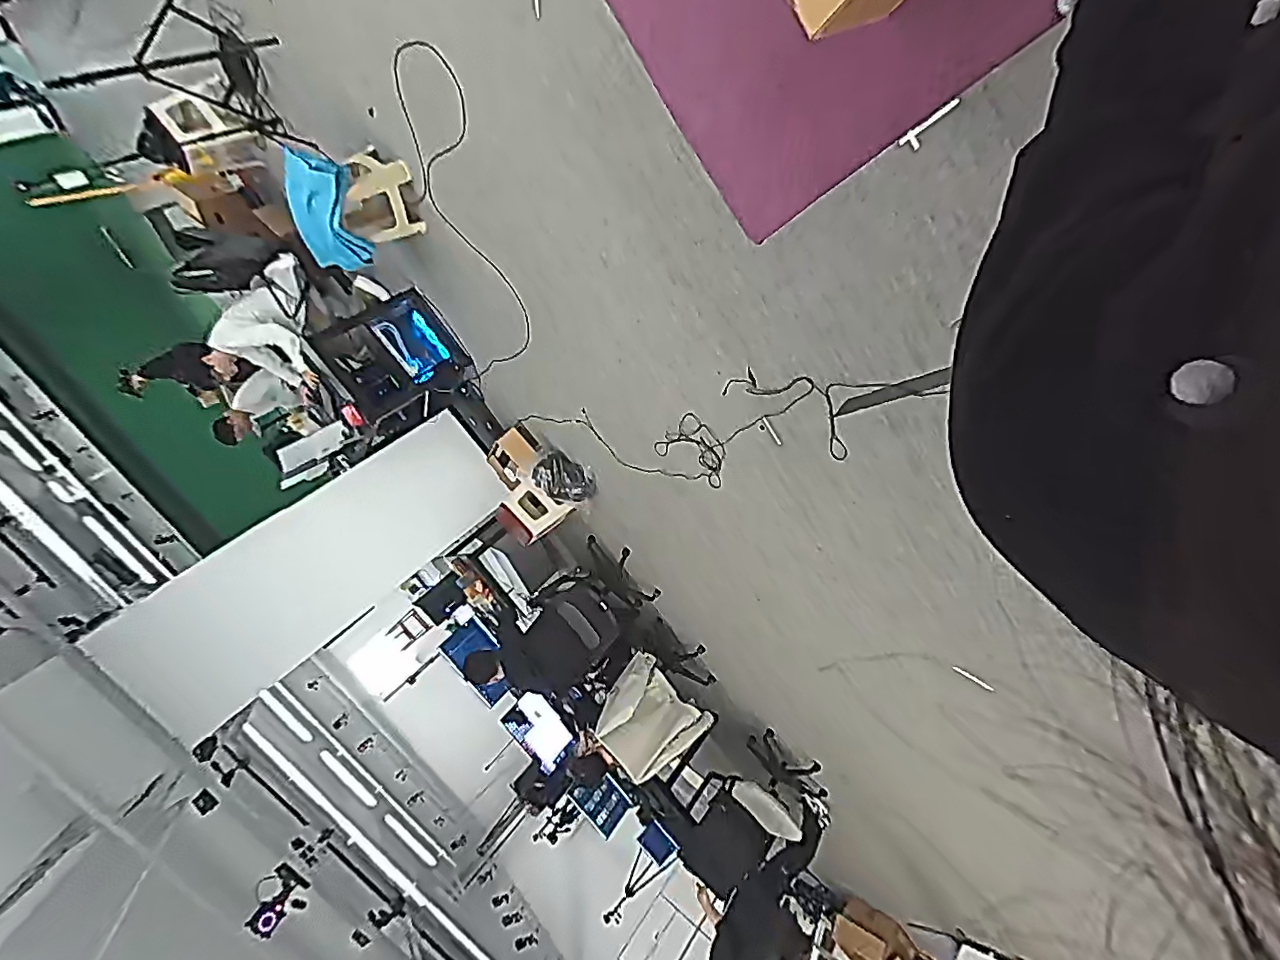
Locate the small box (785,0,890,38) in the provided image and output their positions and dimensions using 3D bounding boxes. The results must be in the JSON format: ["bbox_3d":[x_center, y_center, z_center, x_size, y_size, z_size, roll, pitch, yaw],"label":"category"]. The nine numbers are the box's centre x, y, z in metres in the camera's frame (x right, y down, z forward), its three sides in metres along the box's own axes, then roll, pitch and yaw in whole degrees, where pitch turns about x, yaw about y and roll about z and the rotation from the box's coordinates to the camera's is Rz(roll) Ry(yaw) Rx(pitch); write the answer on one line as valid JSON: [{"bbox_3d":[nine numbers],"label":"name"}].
[{"bbox_3d":[0.206,-0.538,0.459,0.168,0.176,0.179,55,150,-12],"label":"small box"}]
